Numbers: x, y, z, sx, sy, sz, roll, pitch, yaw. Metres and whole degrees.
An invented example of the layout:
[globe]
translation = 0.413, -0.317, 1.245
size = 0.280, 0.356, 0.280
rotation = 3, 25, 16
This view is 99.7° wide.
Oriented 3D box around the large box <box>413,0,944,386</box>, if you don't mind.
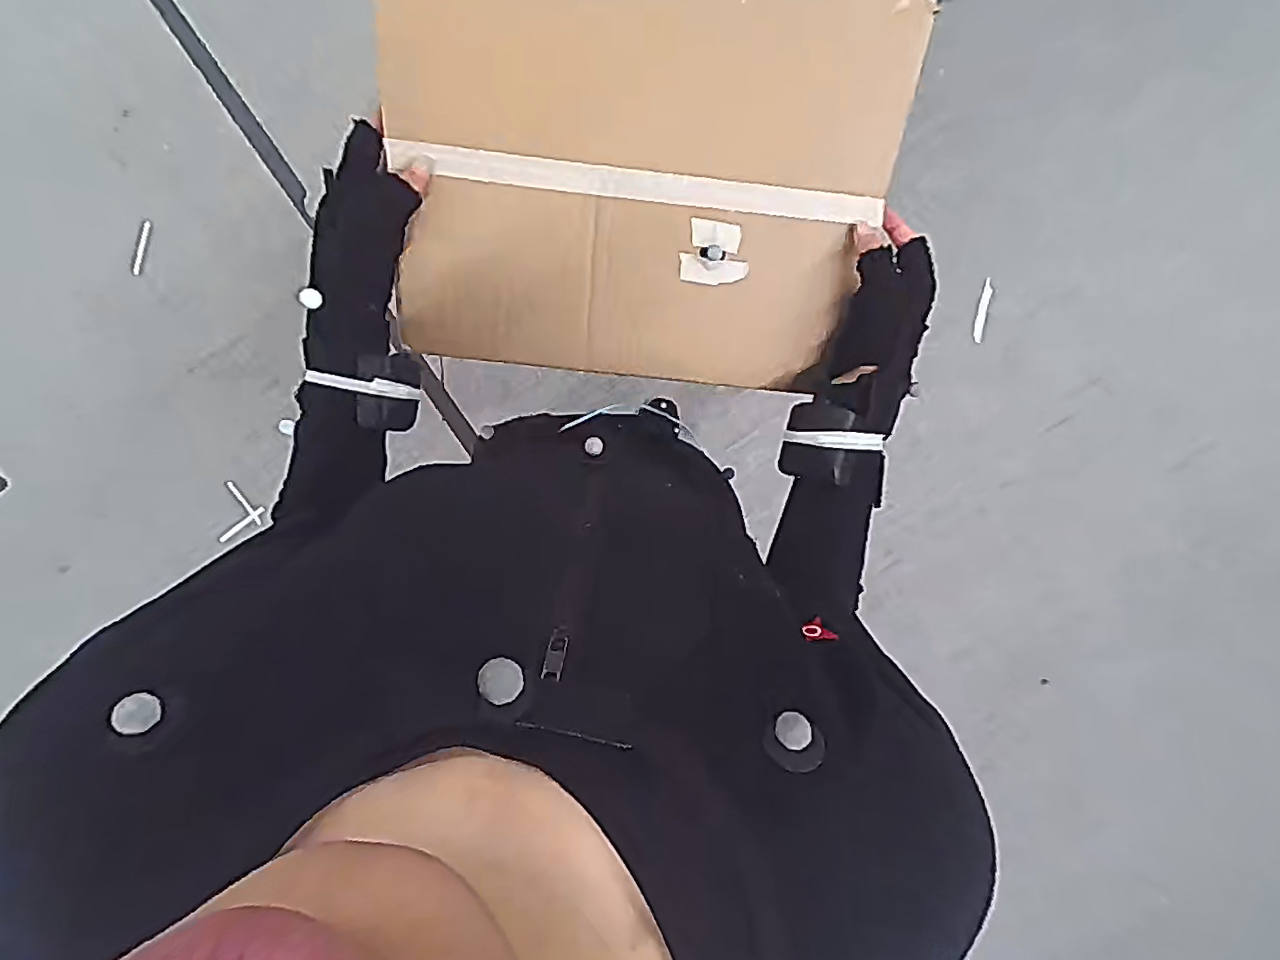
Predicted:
[large box]
translation = 0.012, -0.307, 0.588
size = 0.408, 0.320, 0.320
rotation = 6, 114, -4
